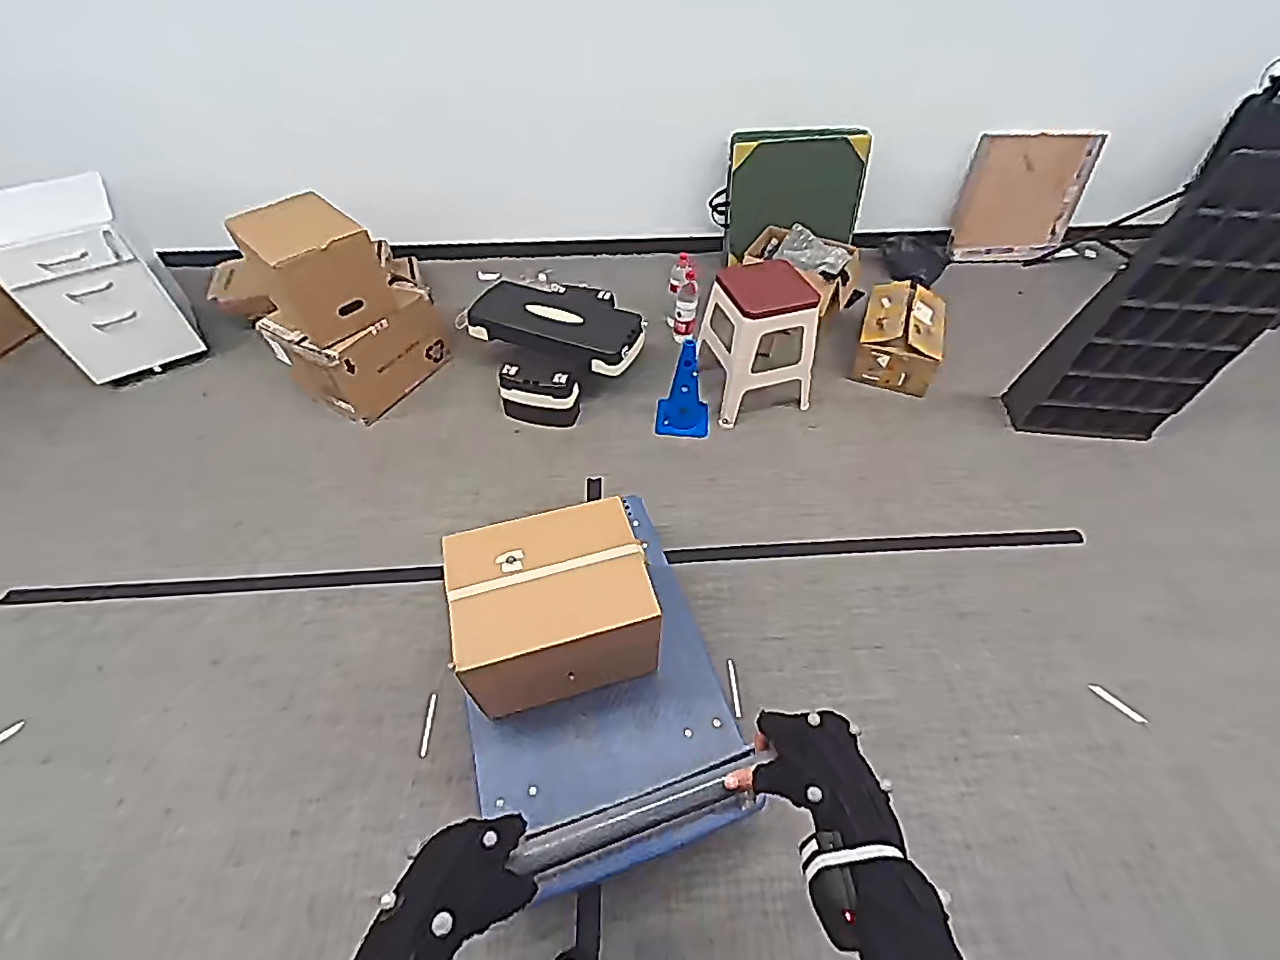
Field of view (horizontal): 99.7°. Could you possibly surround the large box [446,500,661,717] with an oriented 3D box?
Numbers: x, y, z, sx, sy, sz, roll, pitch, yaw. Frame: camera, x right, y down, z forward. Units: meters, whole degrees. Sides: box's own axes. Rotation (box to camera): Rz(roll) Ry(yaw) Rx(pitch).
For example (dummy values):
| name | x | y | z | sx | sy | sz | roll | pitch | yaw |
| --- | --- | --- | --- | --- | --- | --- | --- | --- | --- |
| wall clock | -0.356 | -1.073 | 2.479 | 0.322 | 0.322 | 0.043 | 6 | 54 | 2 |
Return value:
| name | x | y | z | sx | sy | sz | roll | pitch | yaw |
| --- | --- | --- | --- | --- | --- | --- | --- | --- | --- |
| large box | -0.190 | 0.297 | 1.246 | 0.408 | 0.320 | 0.320 | -14 | 52 | -10 |
